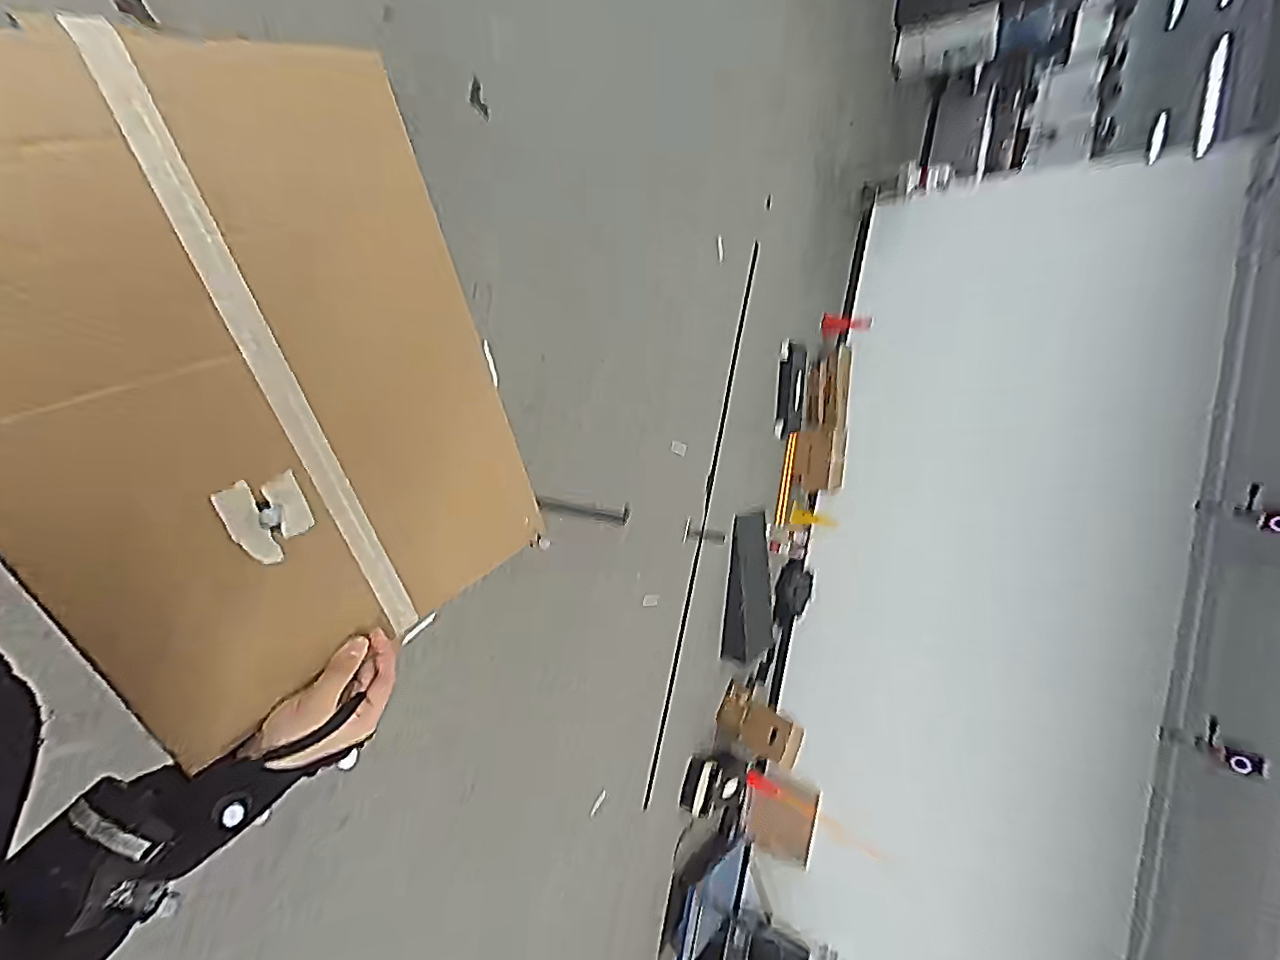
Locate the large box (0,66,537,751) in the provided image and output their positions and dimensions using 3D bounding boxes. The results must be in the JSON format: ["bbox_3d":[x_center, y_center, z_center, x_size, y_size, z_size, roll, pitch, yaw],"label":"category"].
[{"bbox_3d":[-0.357,-0.073,0.476,0.320,0.320,0.408,-35,122,-37],"label":"large box"}]
